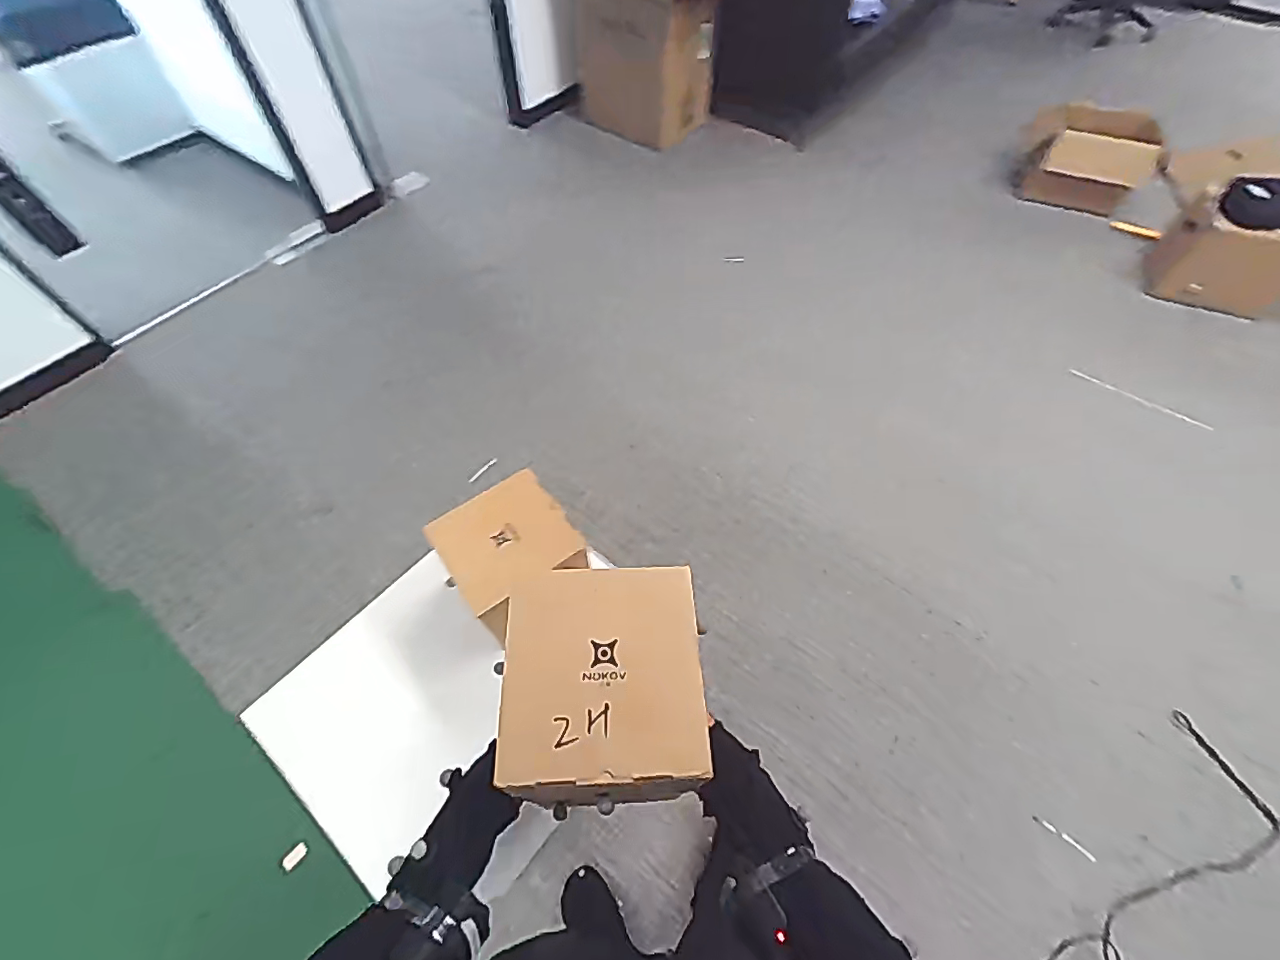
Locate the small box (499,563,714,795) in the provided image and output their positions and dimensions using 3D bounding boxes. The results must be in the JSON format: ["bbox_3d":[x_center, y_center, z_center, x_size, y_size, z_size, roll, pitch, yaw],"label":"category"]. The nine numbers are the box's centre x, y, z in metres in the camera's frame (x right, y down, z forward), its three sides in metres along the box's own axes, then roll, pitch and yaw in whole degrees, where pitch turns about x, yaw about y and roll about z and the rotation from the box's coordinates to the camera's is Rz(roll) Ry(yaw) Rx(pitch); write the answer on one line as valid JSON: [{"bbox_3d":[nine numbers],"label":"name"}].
[{"bbox_3d":[-0.030,0.194,0.518,0.168,0.176,0.179,0,56,-3],"label":"small box"}]

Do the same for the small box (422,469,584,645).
[{"bbox_3d":[-0.193,0.123,0.825,0.179,0.176,0.168,-33,63,-19],"label":"small box"}]
